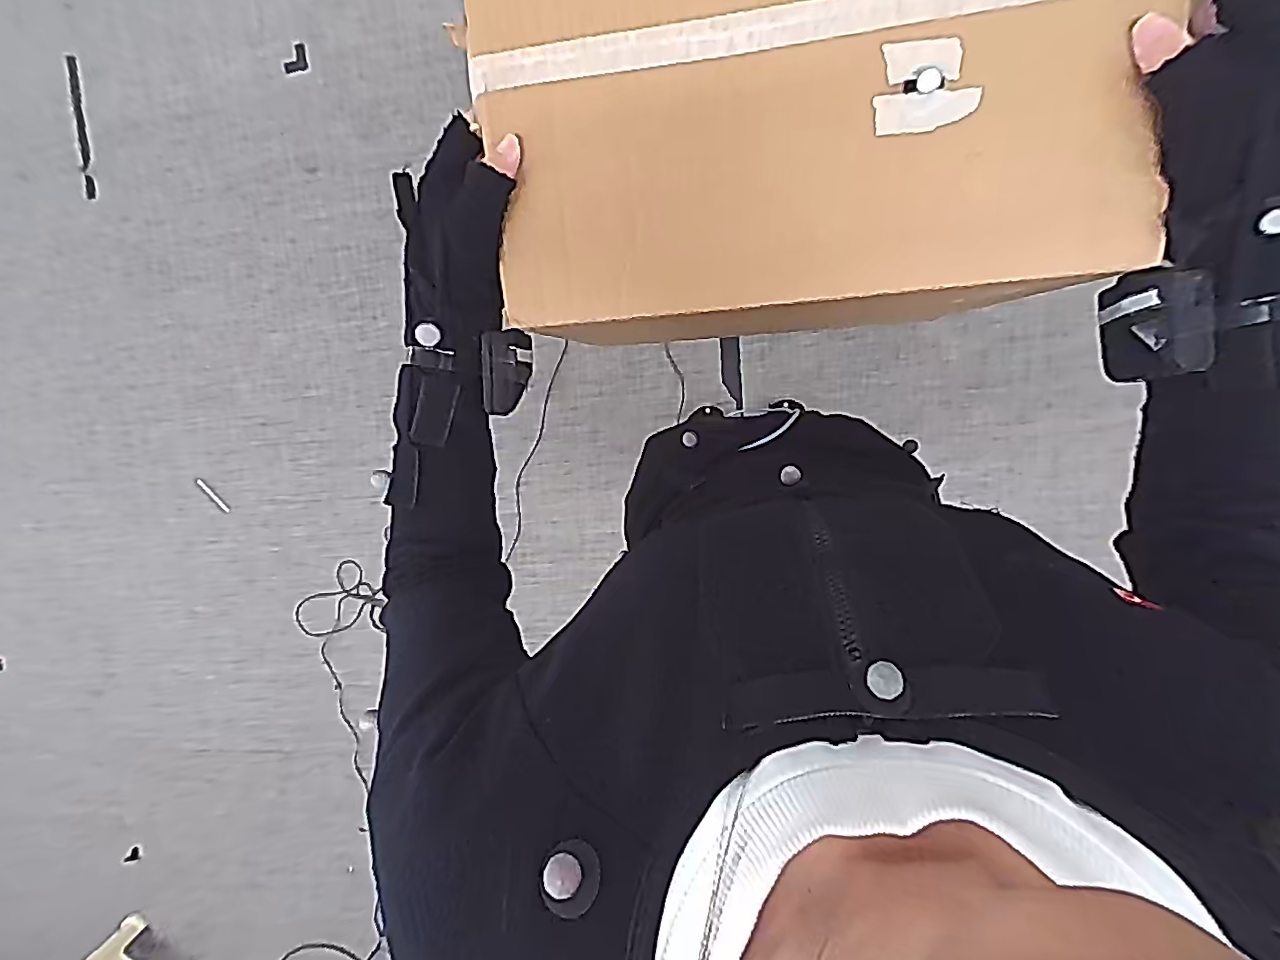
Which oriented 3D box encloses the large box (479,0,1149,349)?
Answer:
[{"bbox_3d":[0.110,-0.302,0.480,0.408,0.320,0.320,-4,101,7],"label":"large box"}]
